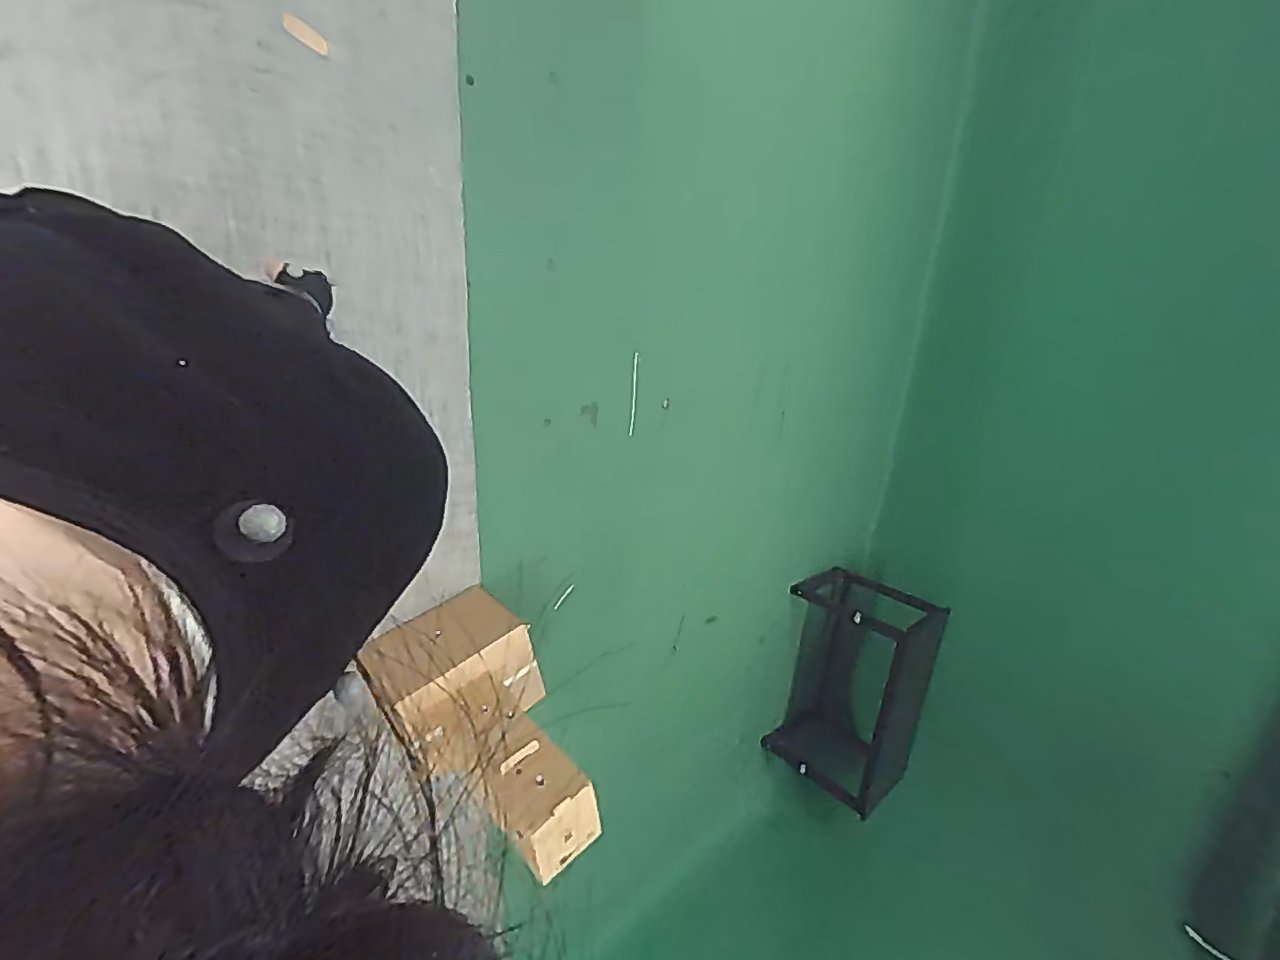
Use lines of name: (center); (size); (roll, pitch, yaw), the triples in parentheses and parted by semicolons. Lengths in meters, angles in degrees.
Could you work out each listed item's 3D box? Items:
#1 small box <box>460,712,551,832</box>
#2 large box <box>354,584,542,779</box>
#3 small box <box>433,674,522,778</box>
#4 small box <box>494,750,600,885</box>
small box: (-0.329, 0.714, 1.353); (0.168, 0.176, 0.179); (-22, 119, -37)
large box: (-0.577, 0.590, 1.656); (0.408, 0.320, 0.320); (-29, 125, -35)
small box: (-0.432, 0.665, 1.471); (0.179, 0.176, 0.168); (-24, 119, -36)
small box: (-0.216, 0.757, 1.241); (0.168, 0.176, 0.179); (-24, 118, -36)
